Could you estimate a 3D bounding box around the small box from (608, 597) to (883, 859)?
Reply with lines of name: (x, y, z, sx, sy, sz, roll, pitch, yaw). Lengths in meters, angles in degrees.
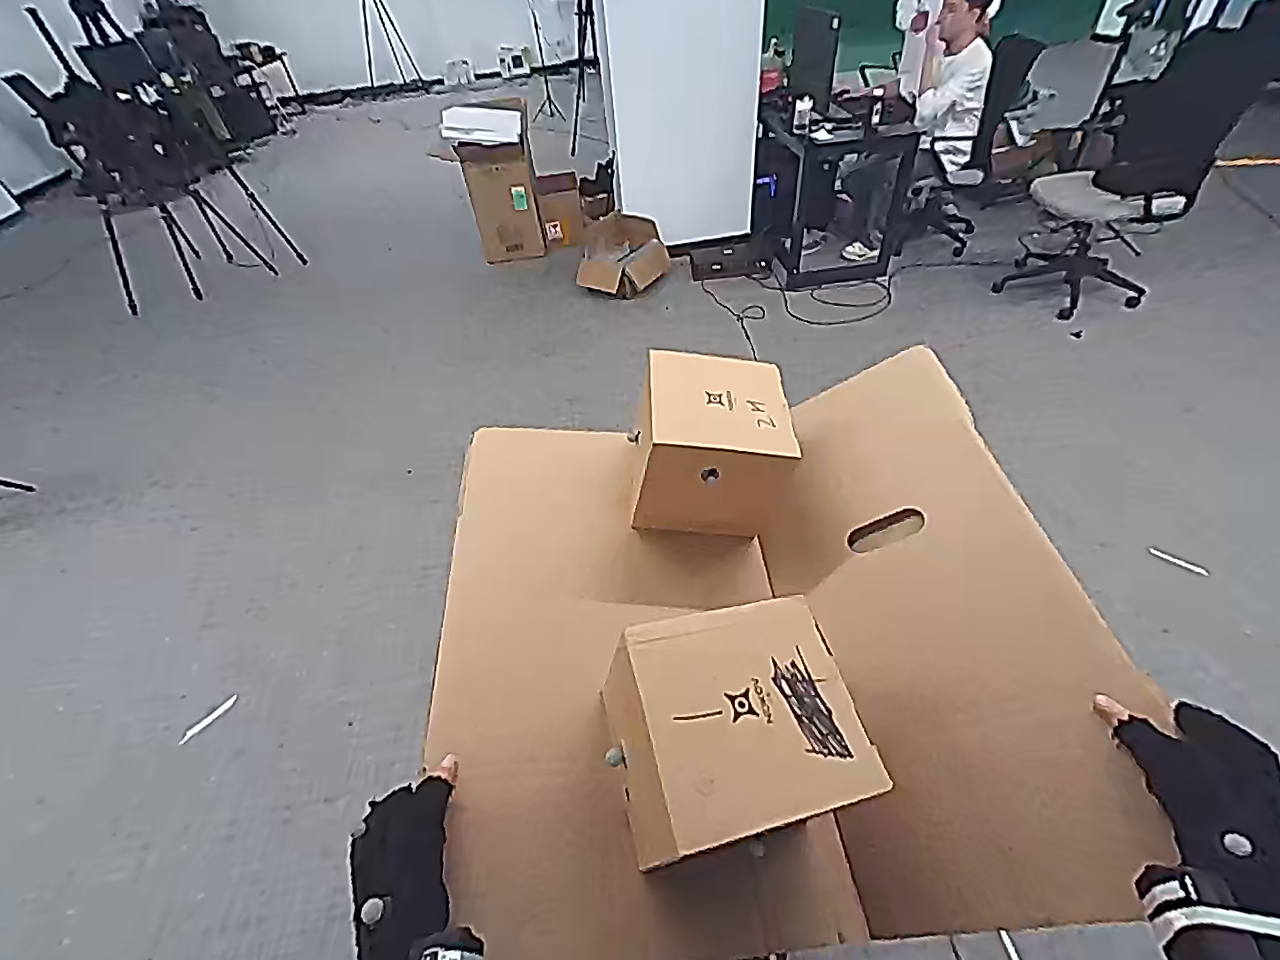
small box: (0.078, 0.231, 0.505, 0.179, 0.176, 0.168, -6, 52, -16)

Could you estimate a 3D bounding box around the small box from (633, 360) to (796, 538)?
small box: (0.086, -0.037, 0.730, 0.179, 0.176, 0.168, 6, 50, -7)
